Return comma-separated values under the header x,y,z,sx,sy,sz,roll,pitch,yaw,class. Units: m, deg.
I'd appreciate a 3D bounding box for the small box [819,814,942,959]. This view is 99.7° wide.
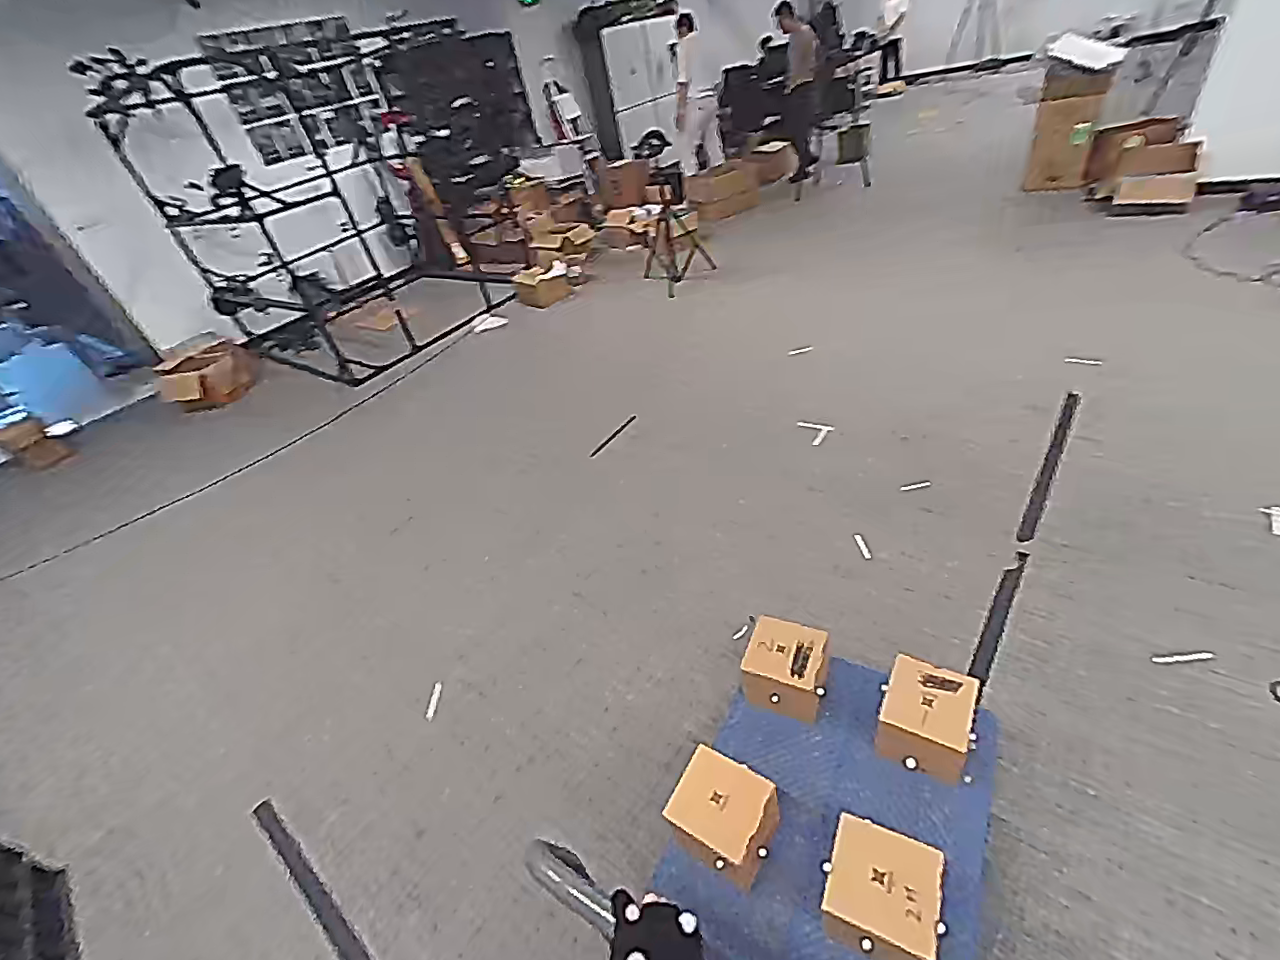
x,y,z,sx,sy,sz,roll,pitch,yaw,class
0.435,0.758,0.983,0.179,0.176,0.168,9,43,29,small box

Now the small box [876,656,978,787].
x,y,z,sx,sy,sz,roll,pitch,yaw,class
0.632,0.534,1.202,0.168,0.176,0.179,13,46,32,small box

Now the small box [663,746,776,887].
x,y,z,sx,sy,sz,roll,pitch,yaw,class
0.172,0.709,1.139,0.179,0.176,0.168,15,46,32,small box
